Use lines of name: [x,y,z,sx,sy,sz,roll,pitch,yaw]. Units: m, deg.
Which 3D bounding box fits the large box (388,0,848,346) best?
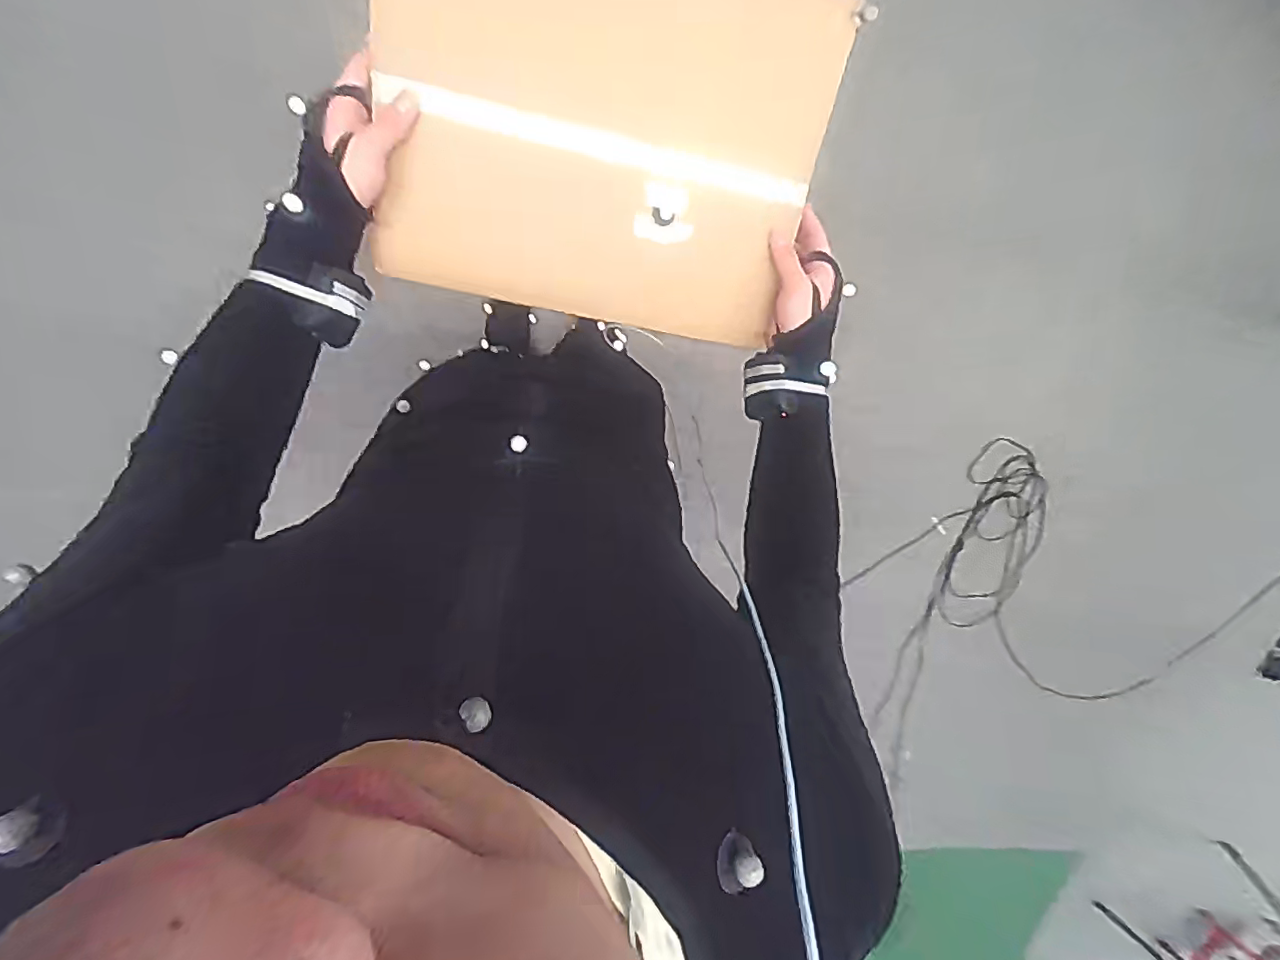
large box: [-0.049,-0.377,0.650,0.408,0.320,0.320,8,117,-11]
